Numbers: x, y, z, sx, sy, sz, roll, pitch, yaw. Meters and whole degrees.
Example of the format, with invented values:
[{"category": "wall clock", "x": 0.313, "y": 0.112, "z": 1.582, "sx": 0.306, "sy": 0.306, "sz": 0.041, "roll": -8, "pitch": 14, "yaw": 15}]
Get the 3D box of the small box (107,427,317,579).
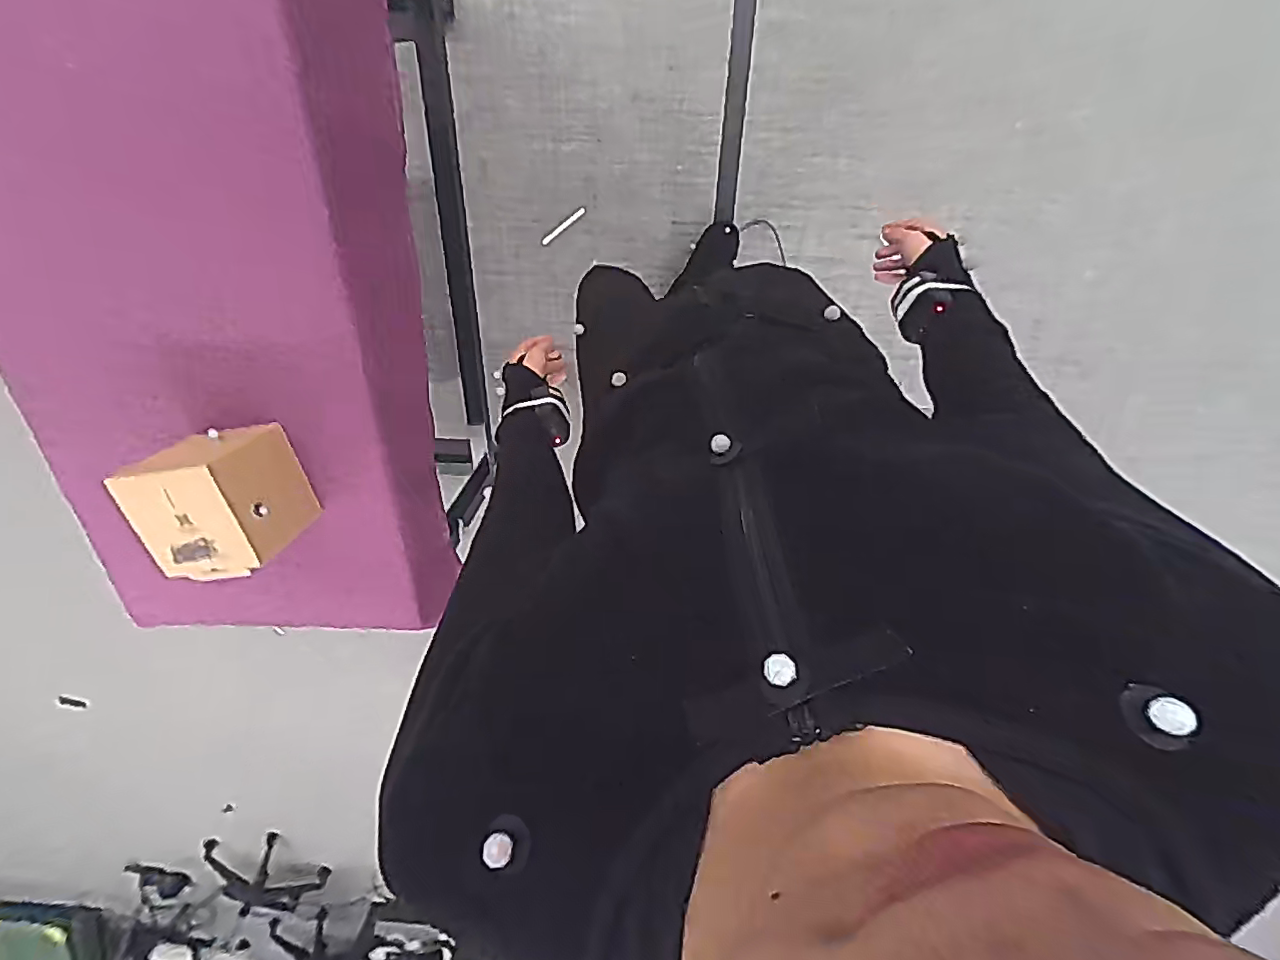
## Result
[{"category": "small box", "x": -0.666, "y": 0.033, "z": 0.871, "sx": 0.168, "sy": 0.176, "sz": 0.179, "roll": -8, "pitch": 116, "yaw": 6}]
